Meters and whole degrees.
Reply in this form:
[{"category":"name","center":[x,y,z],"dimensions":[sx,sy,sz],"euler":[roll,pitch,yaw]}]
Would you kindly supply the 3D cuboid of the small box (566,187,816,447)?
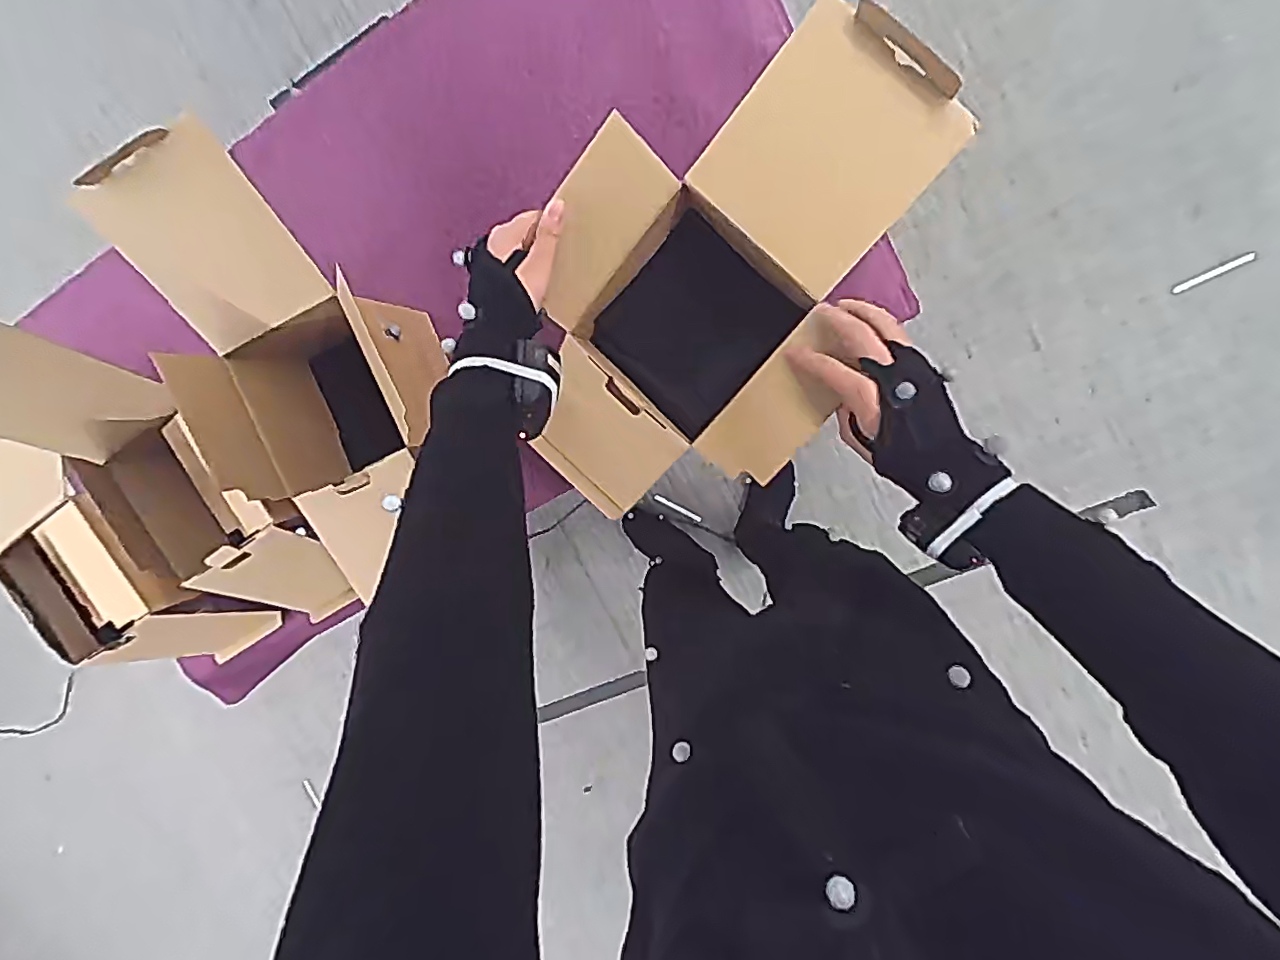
[{"category":"small box","center":[0.054,-0.159,0.574],"dimensions":[0.168,0.176,0.179],"euler":[42,104,2]}]
